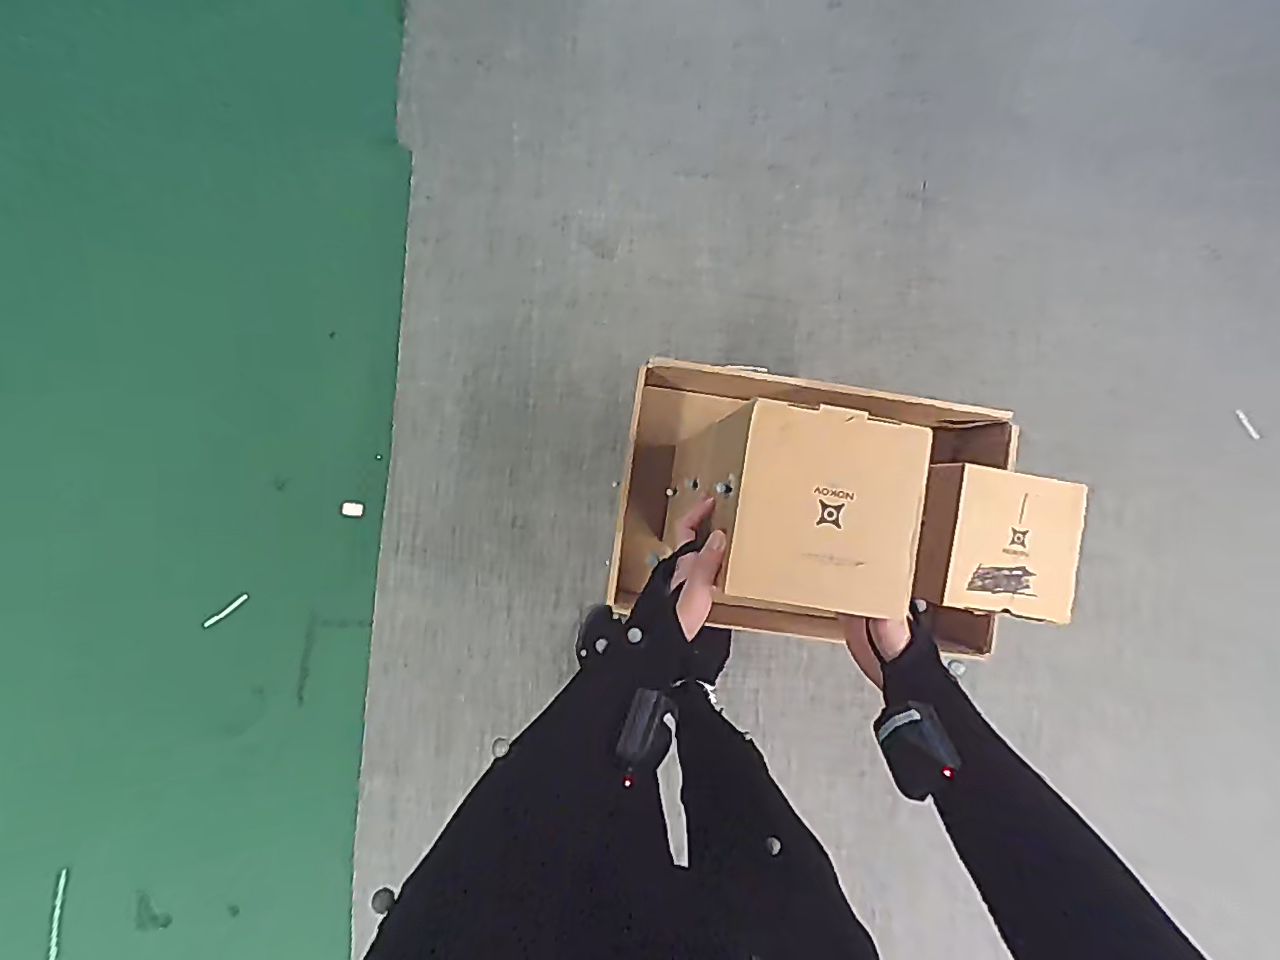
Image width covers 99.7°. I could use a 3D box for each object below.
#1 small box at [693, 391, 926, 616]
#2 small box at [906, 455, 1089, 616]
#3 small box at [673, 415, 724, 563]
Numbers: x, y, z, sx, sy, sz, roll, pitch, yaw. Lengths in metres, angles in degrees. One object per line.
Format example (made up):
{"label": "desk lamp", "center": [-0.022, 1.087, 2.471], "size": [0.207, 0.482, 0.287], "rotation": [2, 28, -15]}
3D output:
{"label": "small box", "center": [0.155, 0.023, 0.548], "size": [0.168, 0.176, 0.179], "rotation": [9, 88, -3]}
{"label": "small box", "center": [0.446, 0.068, 0.729], "size": [0.168, 0.176, 0.179], "rotation": [8, 89, -4]}
{"label": "small box", "center": [0.143, 0.025, 0.711], "size": [0.168, 0.176, 0.179], "rotation": [10, 88, -3]}
